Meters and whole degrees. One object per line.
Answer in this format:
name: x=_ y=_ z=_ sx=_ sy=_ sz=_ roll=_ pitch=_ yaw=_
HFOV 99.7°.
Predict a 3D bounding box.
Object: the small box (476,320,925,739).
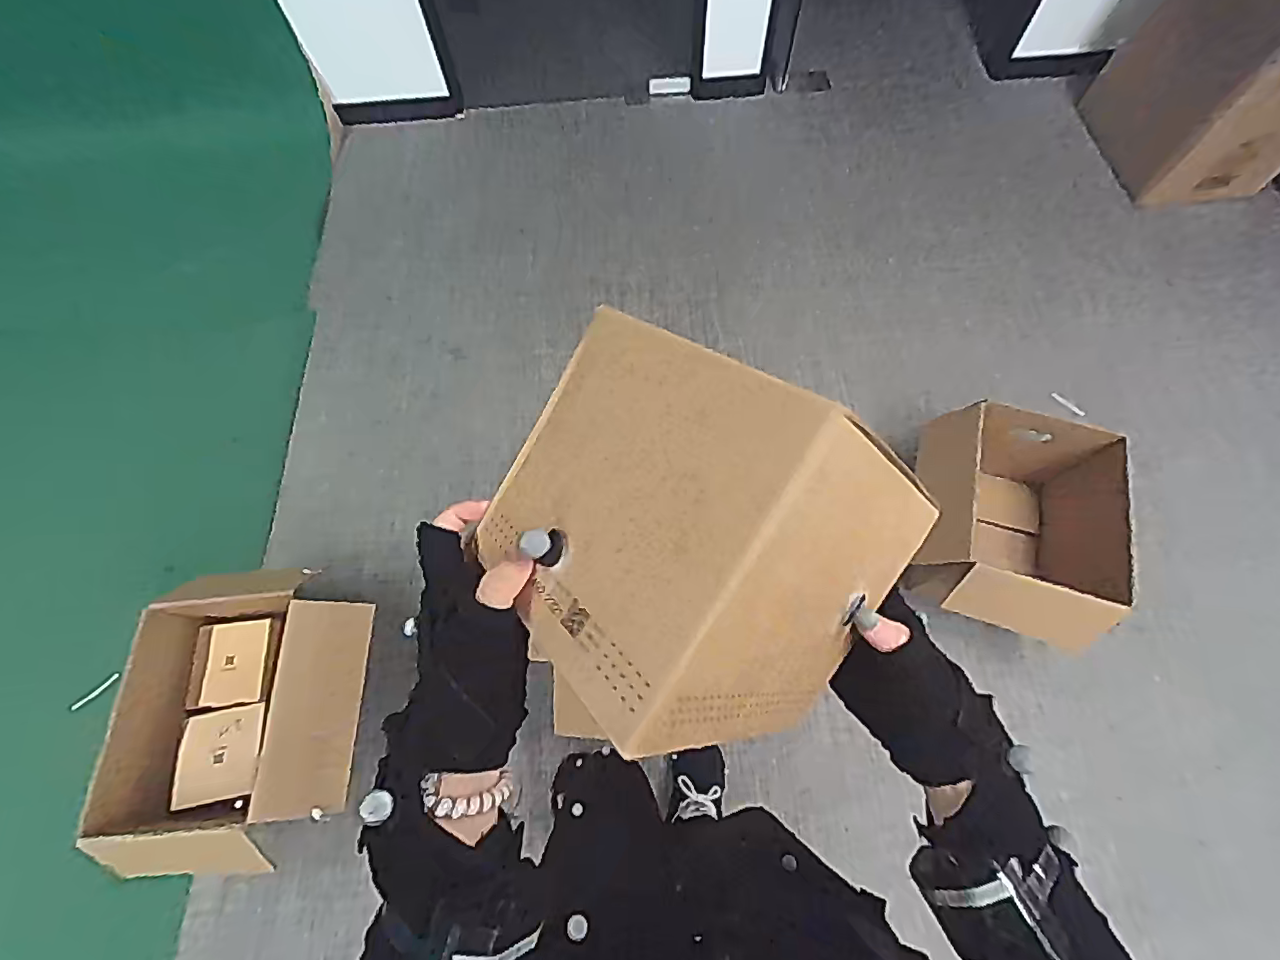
small box: x=0.033 y=0.031 z=0.332 sx=0.168 sy=0.179 sz=0.176 roll=33 pitch=98 yaw=45
